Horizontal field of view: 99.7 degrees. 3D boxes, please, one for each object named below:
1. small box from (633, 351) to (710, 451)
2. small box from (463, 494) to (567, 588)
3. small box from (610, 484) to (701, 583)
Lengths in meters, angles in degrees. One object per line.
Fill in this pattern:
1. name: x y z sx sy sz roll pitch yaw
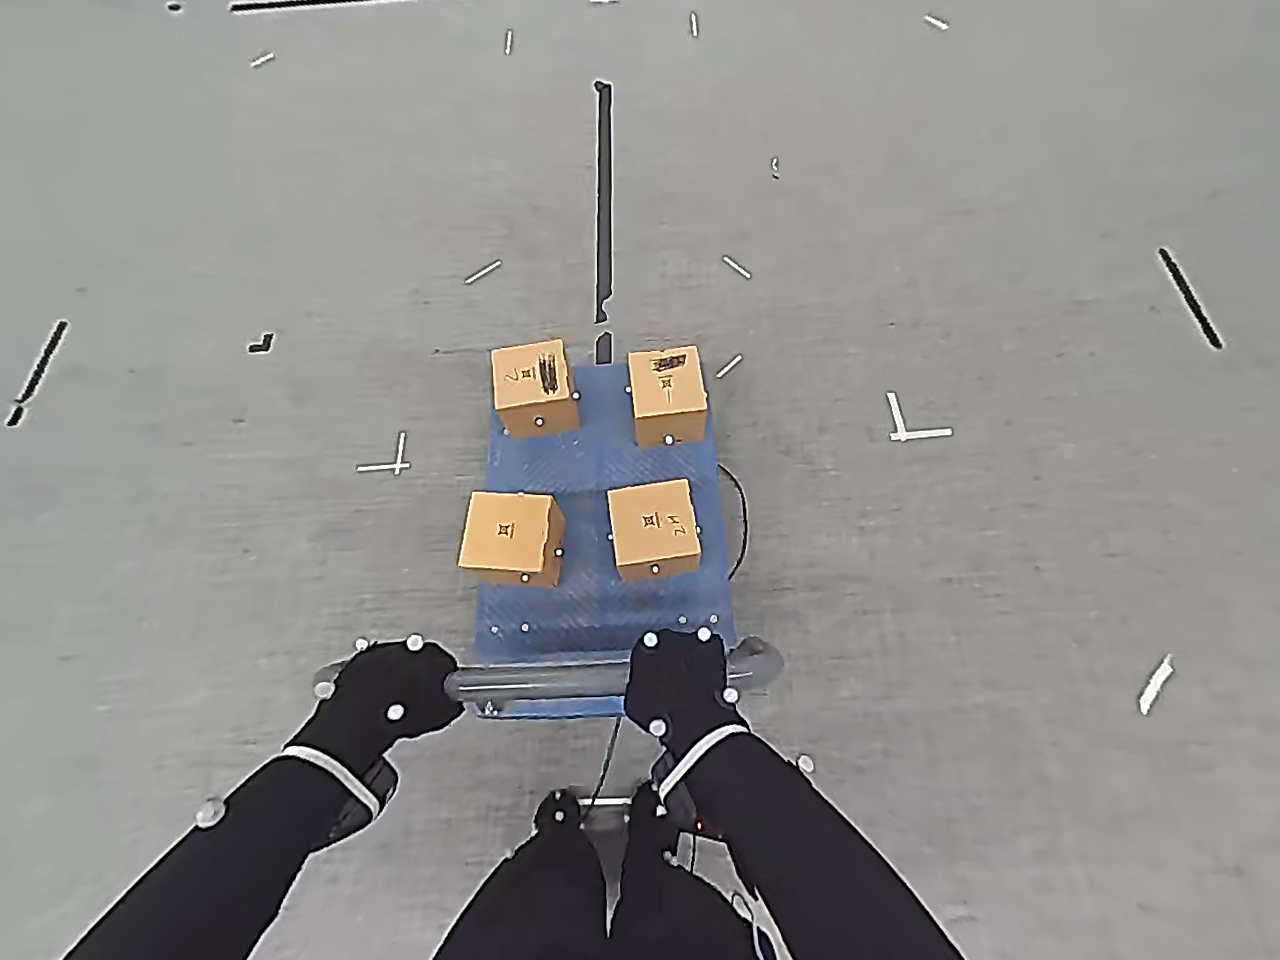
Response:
1. small box: 0.072 -0.190 1.323 0.168 0.176 0.179 -6 69 1
2. small box: -0.270 0.141 1.207 0.179 0.176 0.168 3 68 3
3. small box: 0.036 0.124 1.197 0.179 0.176 0.168 -8 68 0
